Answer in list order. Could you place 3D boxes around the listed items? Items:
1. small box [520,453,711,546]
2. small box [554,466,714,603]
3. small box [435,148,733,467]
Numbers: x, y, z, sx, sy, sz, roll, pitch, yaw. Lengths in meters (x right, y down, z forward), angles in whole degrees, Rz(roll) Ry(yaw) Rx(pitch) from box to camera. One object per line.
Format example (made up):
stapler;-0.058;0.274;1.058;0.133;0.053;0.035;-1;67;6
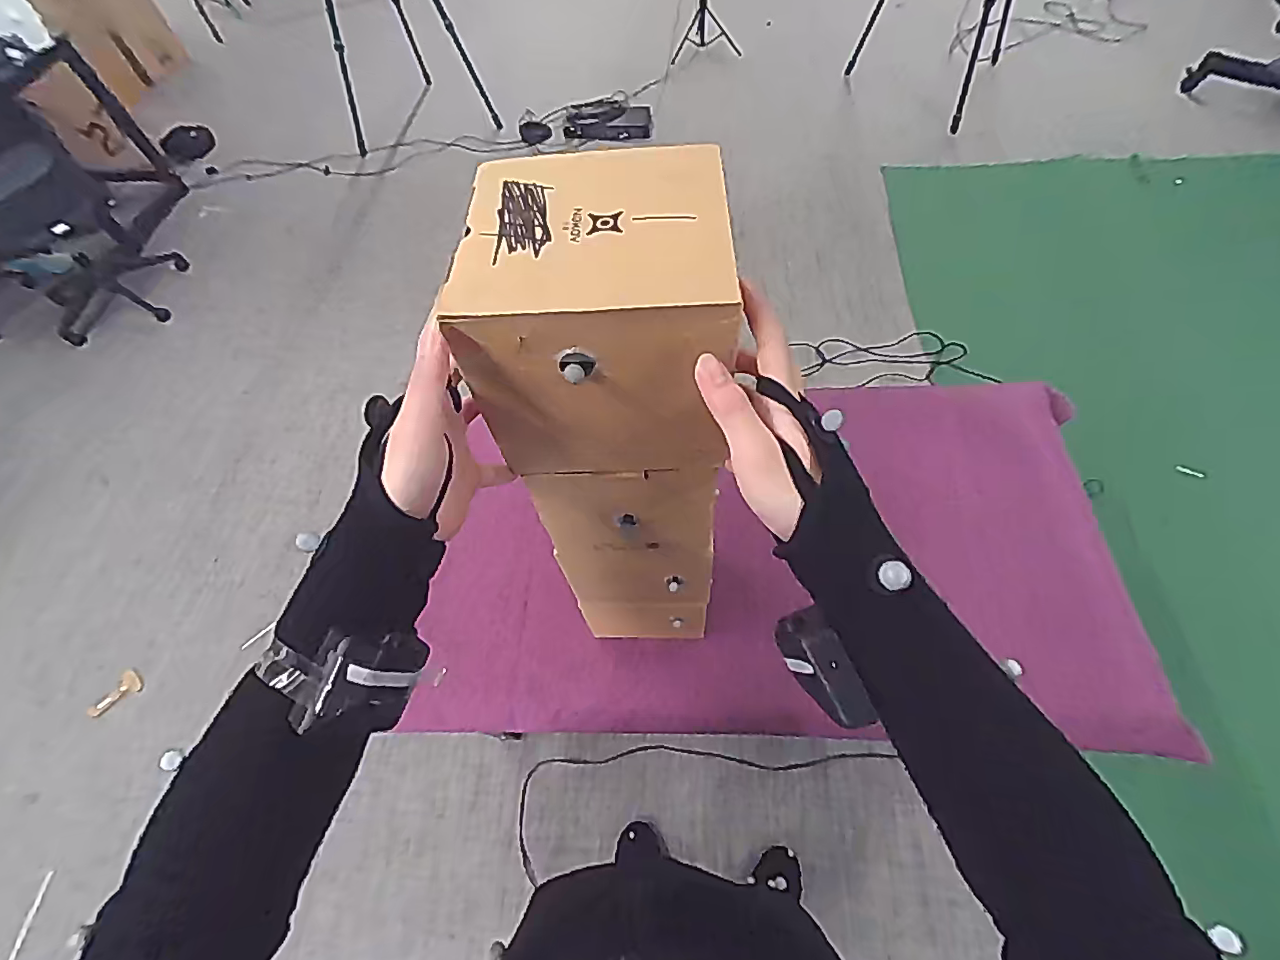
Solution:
small box;-0.013;-0.038;0.557;0.168;0.176;0.179;-2;59;4
small box;0.001;0.052;0.692;0.179;0.176;0.168;-1;58;5
small box;-0.026;-0.121;0.415;0.179;0.176;0.168;-2;58;4
